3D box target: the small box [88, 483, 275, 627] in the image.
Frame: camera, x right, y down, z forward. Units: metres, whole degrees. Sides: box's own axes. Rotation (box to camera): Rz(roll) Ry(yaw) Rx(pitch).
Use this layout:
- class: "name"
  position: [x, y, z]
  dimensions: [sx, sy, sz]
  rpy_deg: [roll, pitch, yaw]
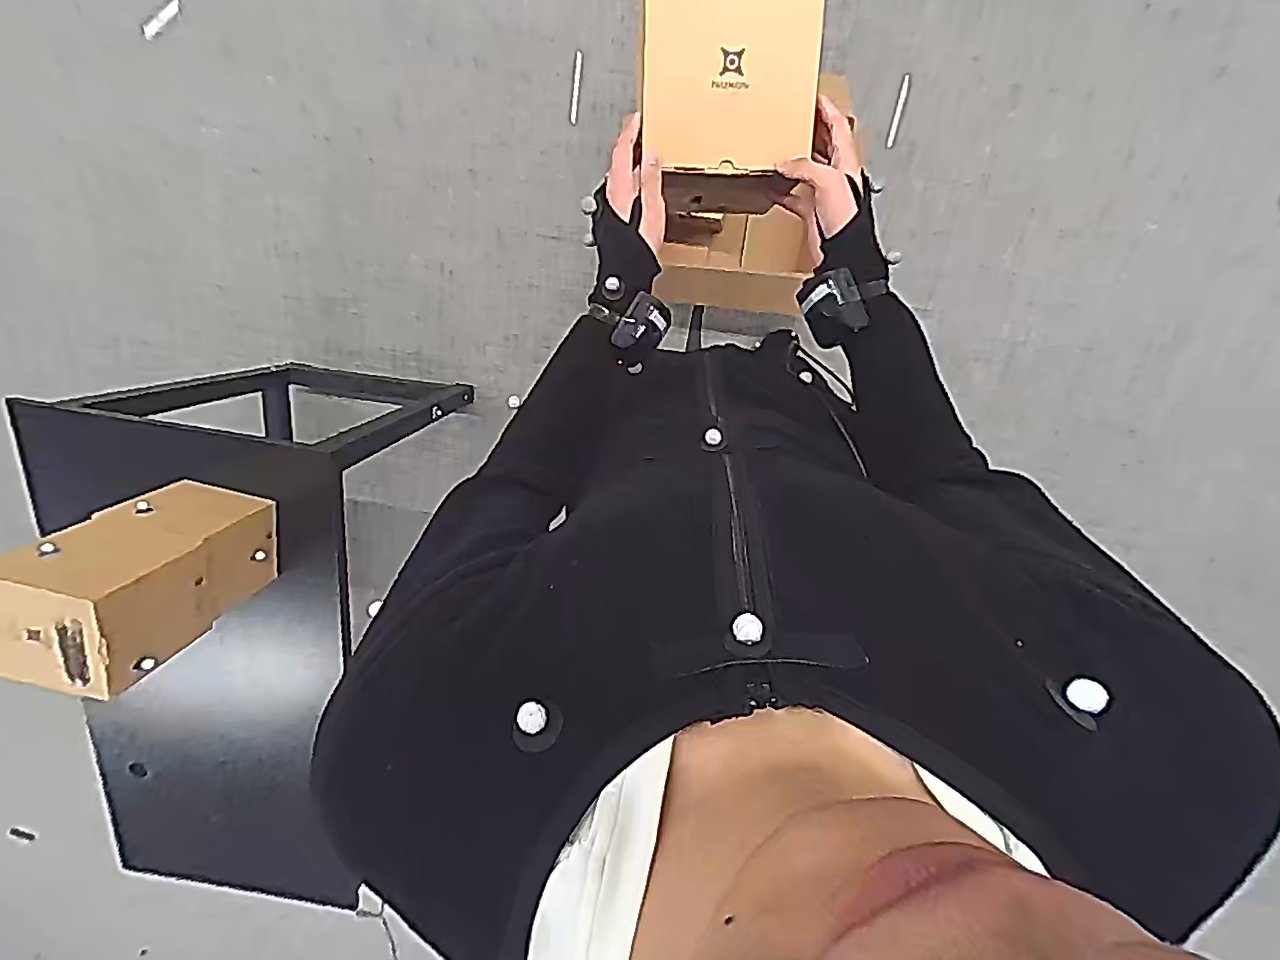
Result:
- class: "small box"
  position: [-0.770, 0.118, 0.927]
  dimensions: [0.179, 0.176, 0.168]
  rpy_deg: [14, 111, 0]

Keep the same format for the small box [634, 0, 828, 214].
- class: "small box"
  position: [0.080, -0.398, 0.569]
  dimensions: [0.168, 0.176, 0.179]
  rpy_deg: [1, 105, -3]
